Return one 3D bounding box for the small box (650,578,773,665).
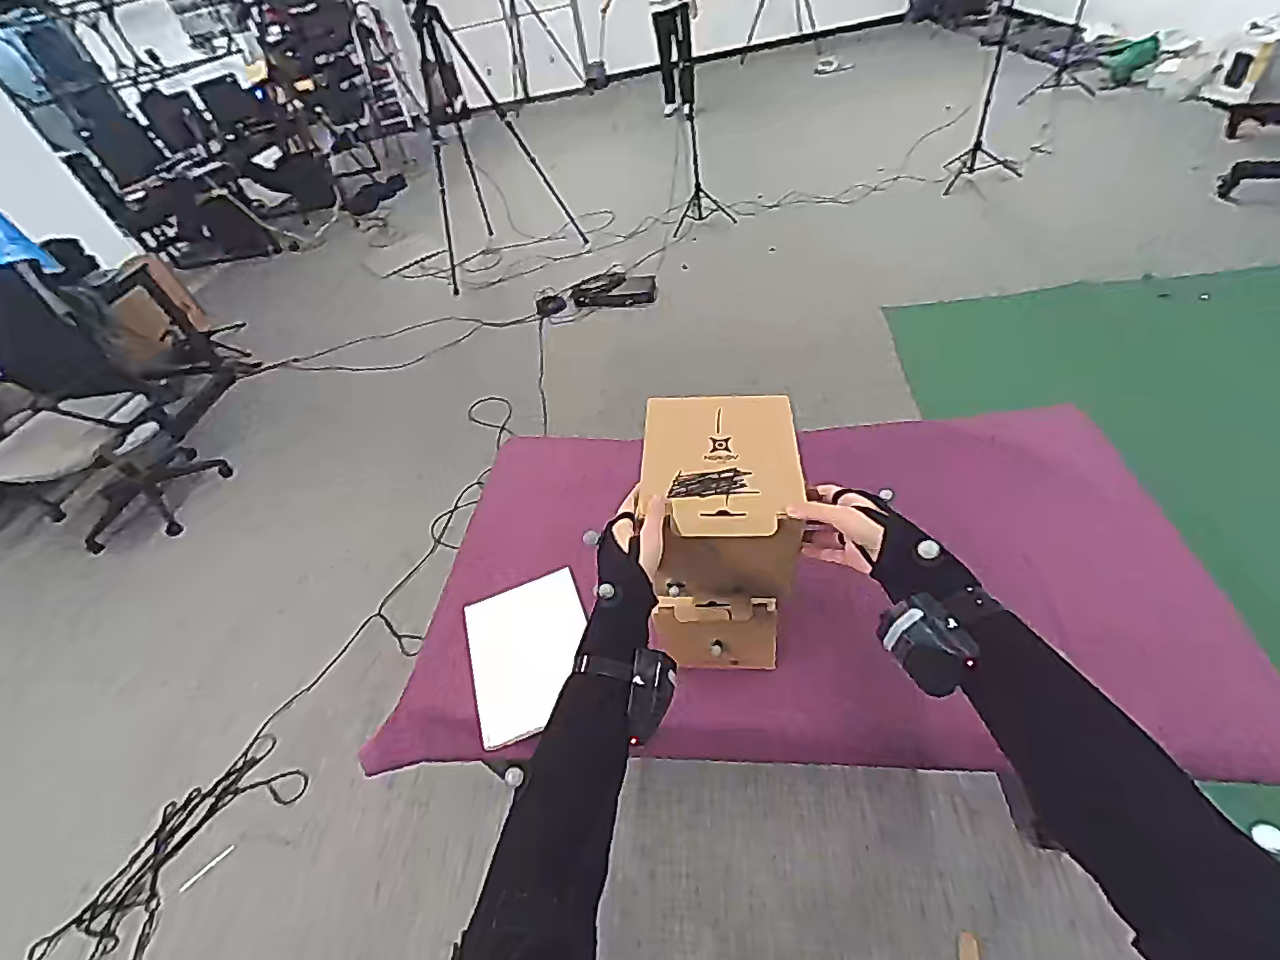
[{"bbox_3d":[0.114,0.167,0.825,0.168,0.176,0.179,-3,46,10],"label":"small box"}]

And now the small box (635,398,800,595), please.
[{"bbox_3d":[0.091,0.023,0.646,0.168,0.176,0.179,0,49,7],"label":"small box"}]
